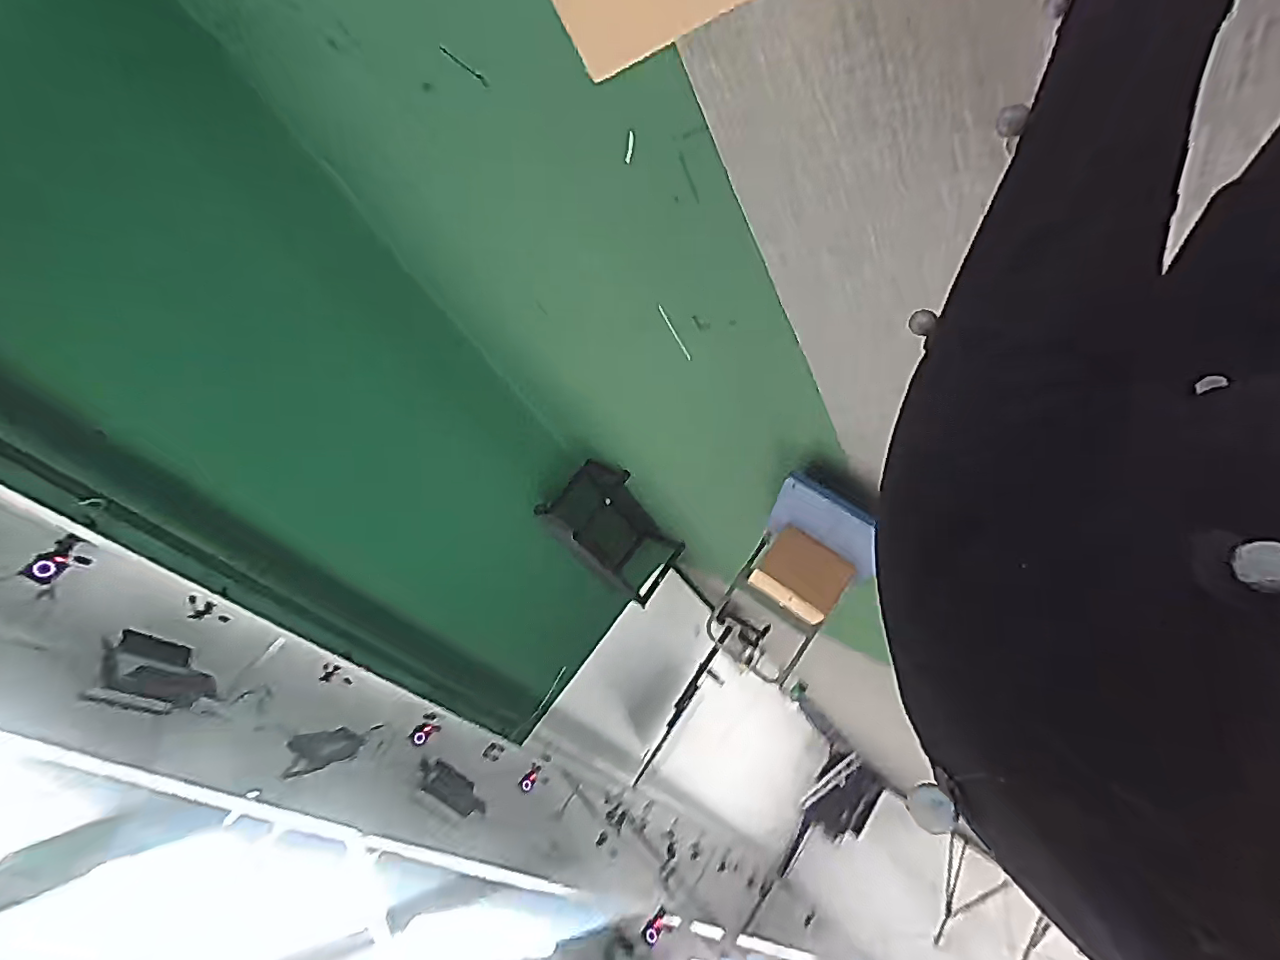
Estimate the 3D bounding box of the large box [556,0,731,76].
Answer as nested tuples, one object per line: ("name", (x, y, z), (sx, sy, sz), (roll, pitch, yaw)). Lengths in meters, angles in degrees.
("large box", (0.082, -0.755, 0.609), (0.408, 0.320, 0.320), (20, 152, 48))
